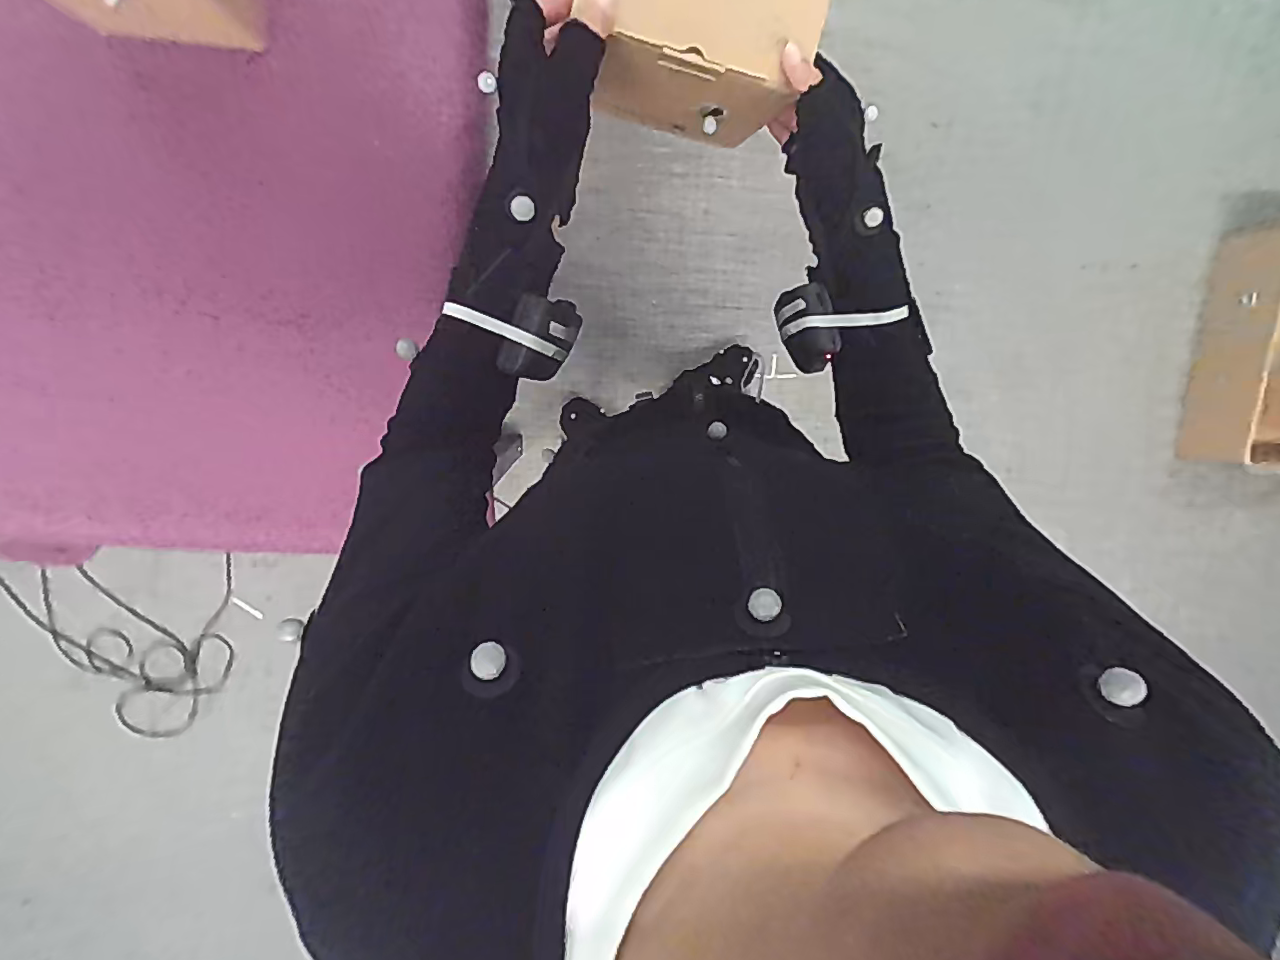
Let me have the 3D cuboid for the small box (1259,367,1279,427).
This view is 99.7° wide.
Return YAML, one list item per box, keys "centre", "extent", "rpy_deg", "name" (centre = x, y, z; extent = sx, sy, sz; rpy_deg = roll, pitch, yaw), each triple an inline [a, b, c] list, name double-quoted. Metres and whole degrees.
- centre: [1.825, -0.224, 1.437]
  extent: [0.179, 0.176, 0.168]
  rpy_deg: [-5, 100, -4]
  name: "small box"
